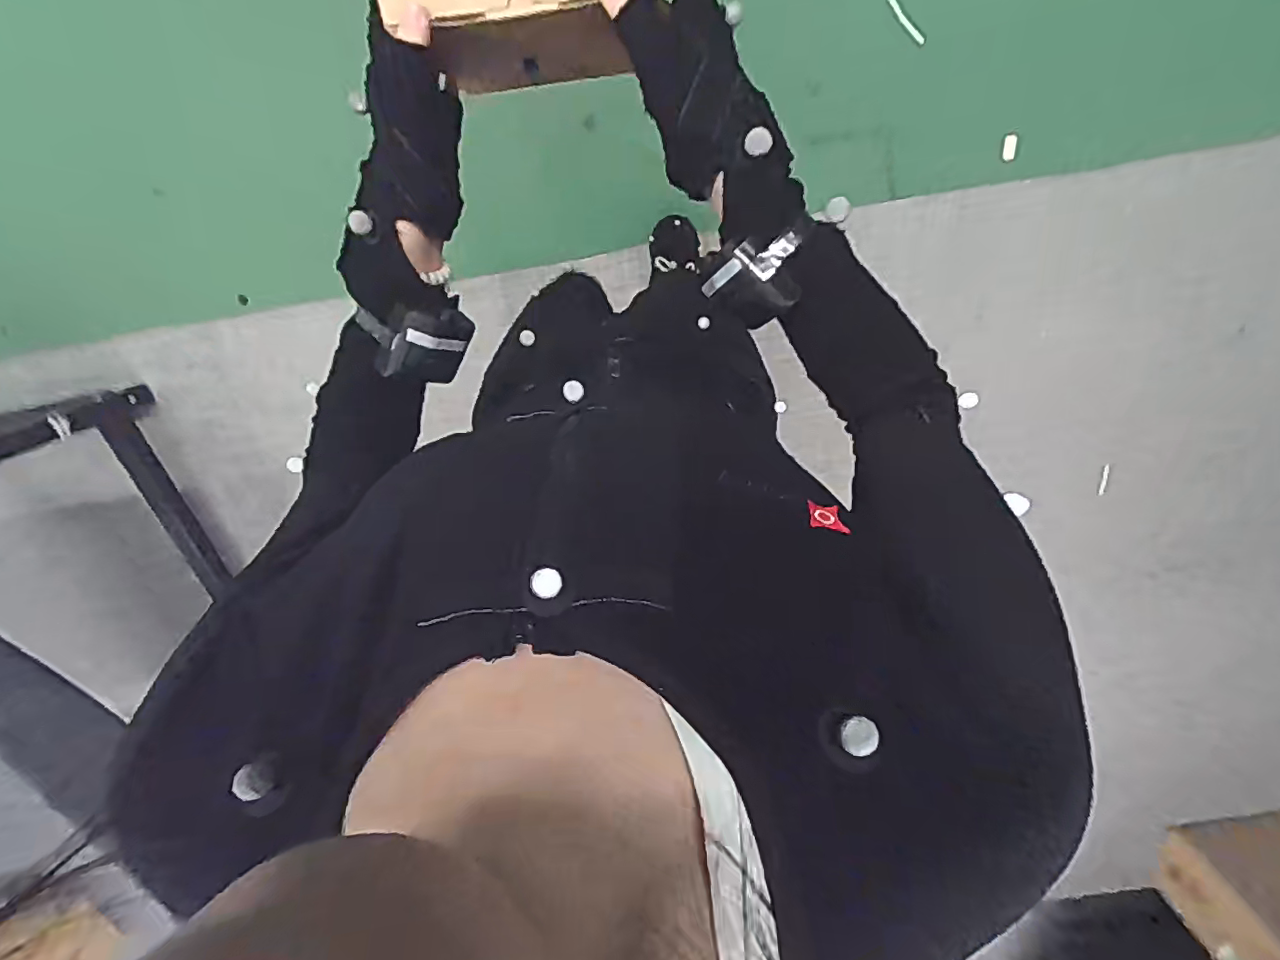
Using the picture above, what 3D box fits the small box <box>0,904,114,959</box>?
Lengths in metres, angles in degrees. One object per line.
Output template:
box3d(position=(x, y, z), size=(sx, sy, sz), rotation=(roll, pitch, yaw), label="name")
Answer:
box3d(position=(-1.257, 1.001, 1.102), size=(0.168, 0.176, 0.179), rotation=(-7, 116, 1), label="small box")

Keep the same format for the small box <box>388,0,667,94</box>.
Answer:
box3d(position=(-0.076, -0.386, 0.356), size=(0.168, 0.176, 0.179), rotation=(-7, 116, 2), label="small box")
